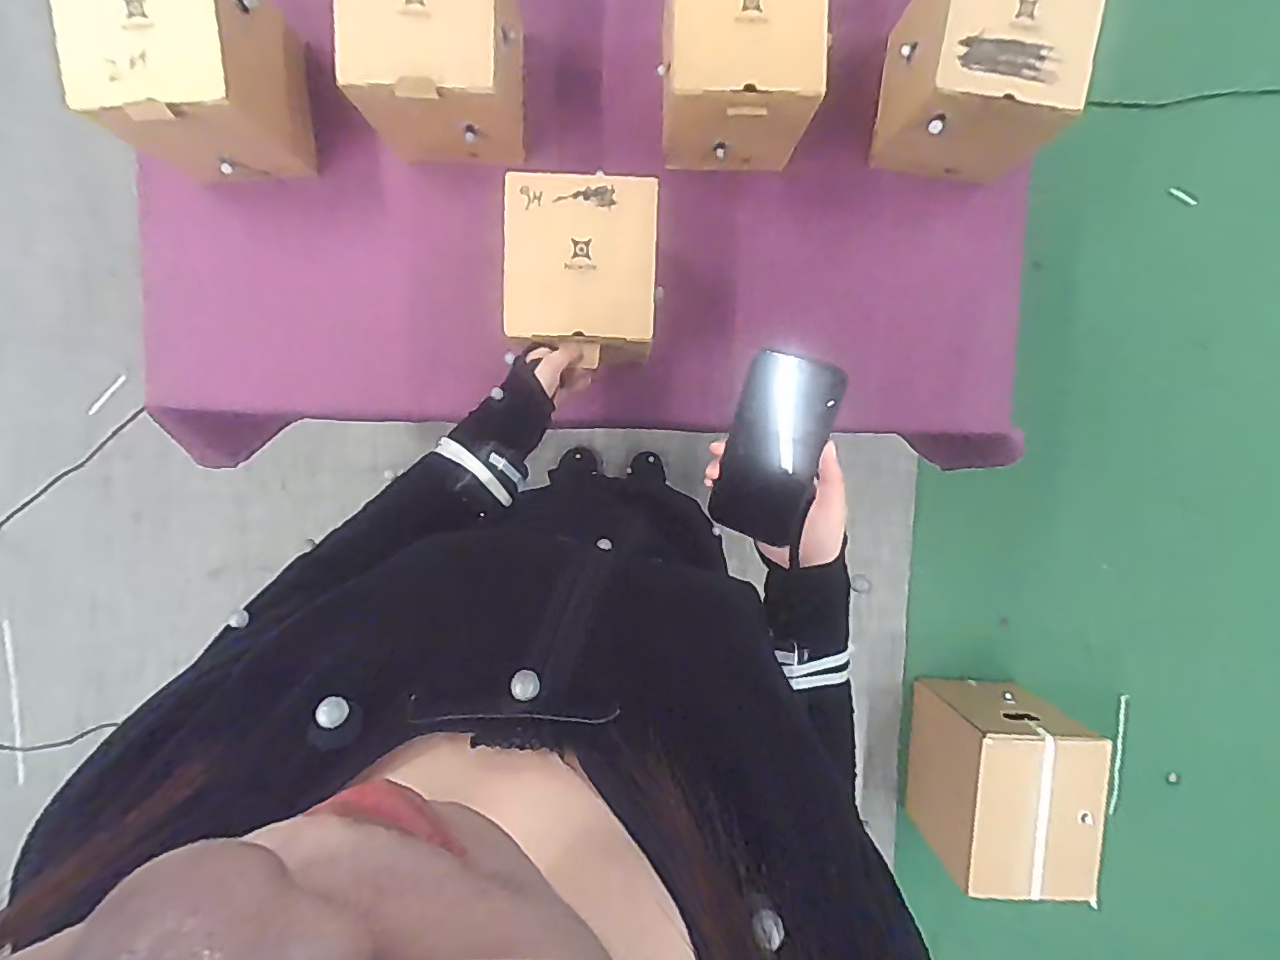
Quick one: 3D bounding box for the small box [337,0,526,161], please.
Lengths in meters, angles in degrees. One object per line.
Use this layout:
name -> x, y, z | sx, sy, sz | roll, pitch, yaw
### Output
small box -> -0.232, -0.506, 0.639 | 0.168, 0.176, 0.179 | 2, 95, -2

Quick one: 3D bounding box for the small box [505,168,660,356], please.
small box -> -0.064, -0.251, 0.663 | 0.168, 0.176, 0.179 | 2, 95, -2

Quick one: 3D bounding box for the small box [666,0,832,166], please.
small box -> 0.118, -0.507, 0.645 | 0.168, 0.176, 0.179 | 0, 96, -1

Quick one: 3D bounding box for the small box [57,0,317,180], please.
small box -> -0.513, -0.483, 0.634 | 0.168, 0.176, 0.179 | -4, 95, -1
